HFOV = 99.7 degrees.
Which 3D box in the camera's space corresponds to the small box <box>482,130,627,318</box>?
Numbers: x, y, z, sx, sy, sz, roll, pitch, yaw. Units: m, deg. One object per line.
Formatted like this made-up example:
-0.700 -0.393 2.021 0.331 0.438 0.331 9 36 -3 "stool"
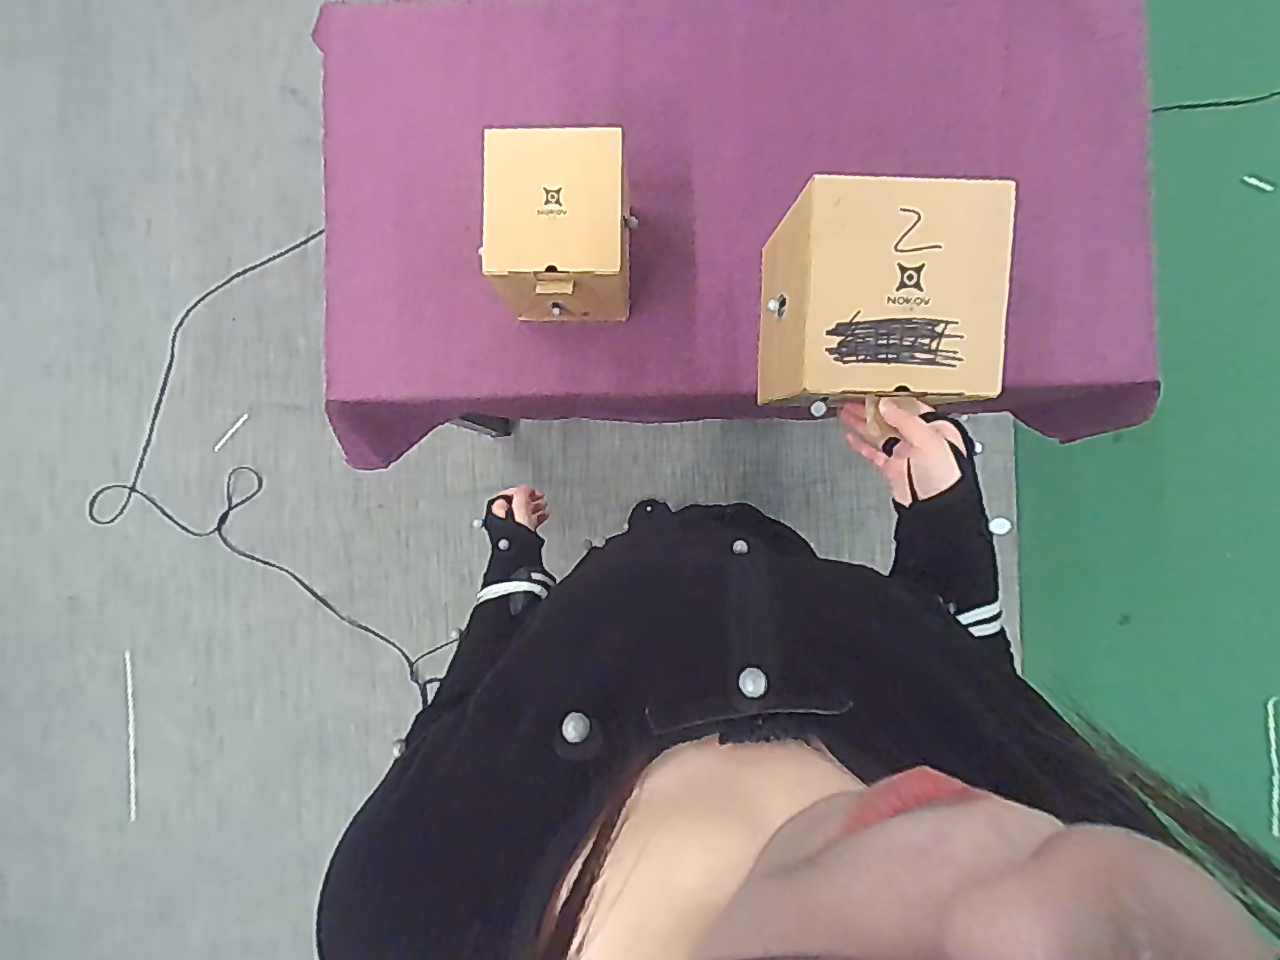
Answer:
-0.106 -0.333 0.730 0.168 0.176 0.179 1 89 1 "small box"
